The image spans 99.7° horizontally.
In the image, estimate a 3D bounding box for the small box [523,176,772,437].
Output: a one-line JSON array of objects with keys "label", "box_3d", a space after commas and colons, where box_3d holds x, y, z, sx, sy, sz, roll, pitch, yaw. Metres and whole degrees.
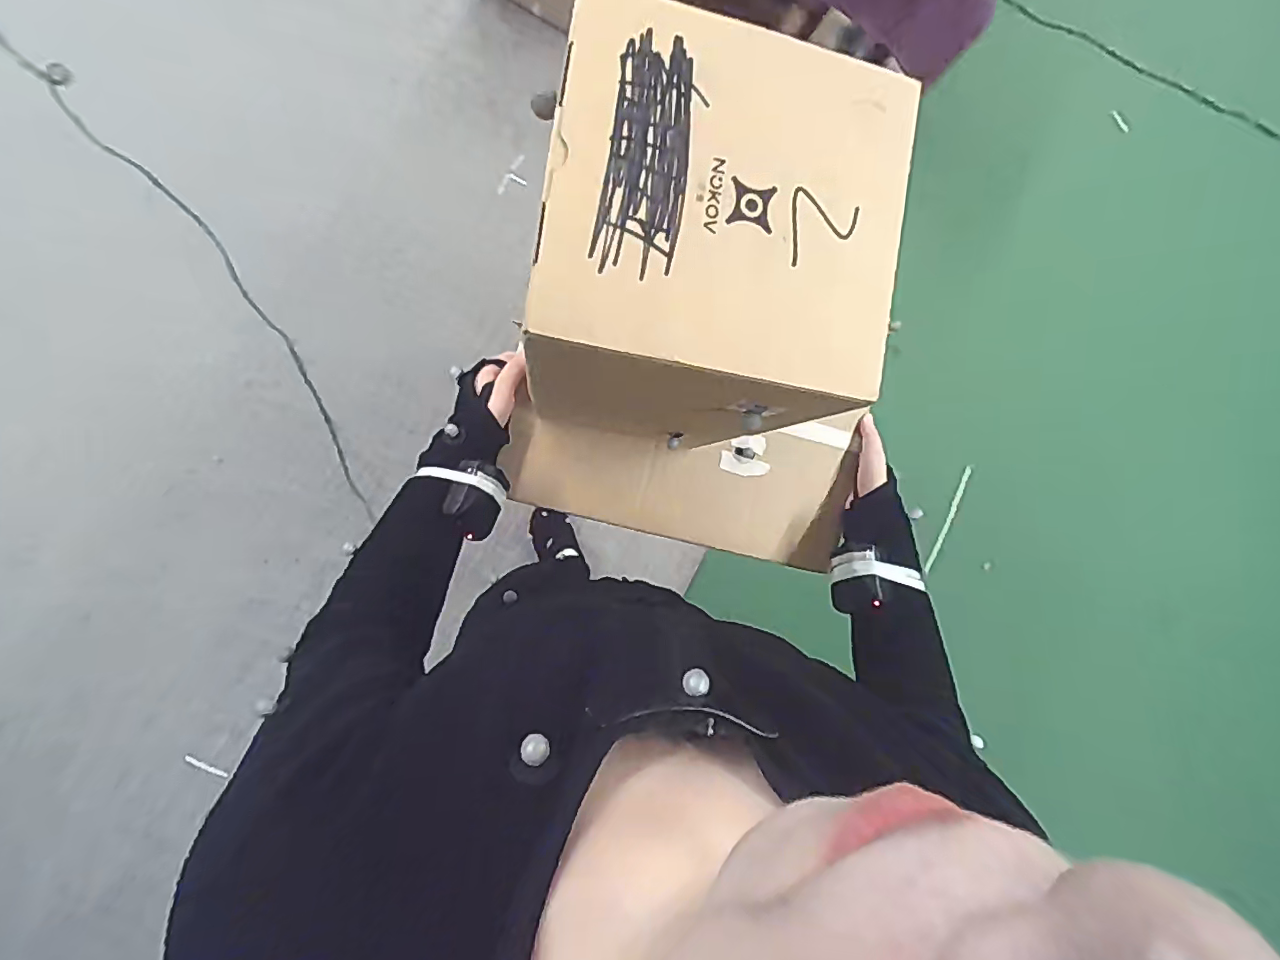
[{"label": "small box", "box_3d": [-0.003, -0.136, 0.497, 0.179, 0.176, 0.168, 9, 88, -9]}]

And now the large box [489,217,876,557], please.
[{"label": "large box", "box_3d": [0.034, -0.099, 0.751, 0.408, 0.320, 0.320, 13, 90, -10]}]
